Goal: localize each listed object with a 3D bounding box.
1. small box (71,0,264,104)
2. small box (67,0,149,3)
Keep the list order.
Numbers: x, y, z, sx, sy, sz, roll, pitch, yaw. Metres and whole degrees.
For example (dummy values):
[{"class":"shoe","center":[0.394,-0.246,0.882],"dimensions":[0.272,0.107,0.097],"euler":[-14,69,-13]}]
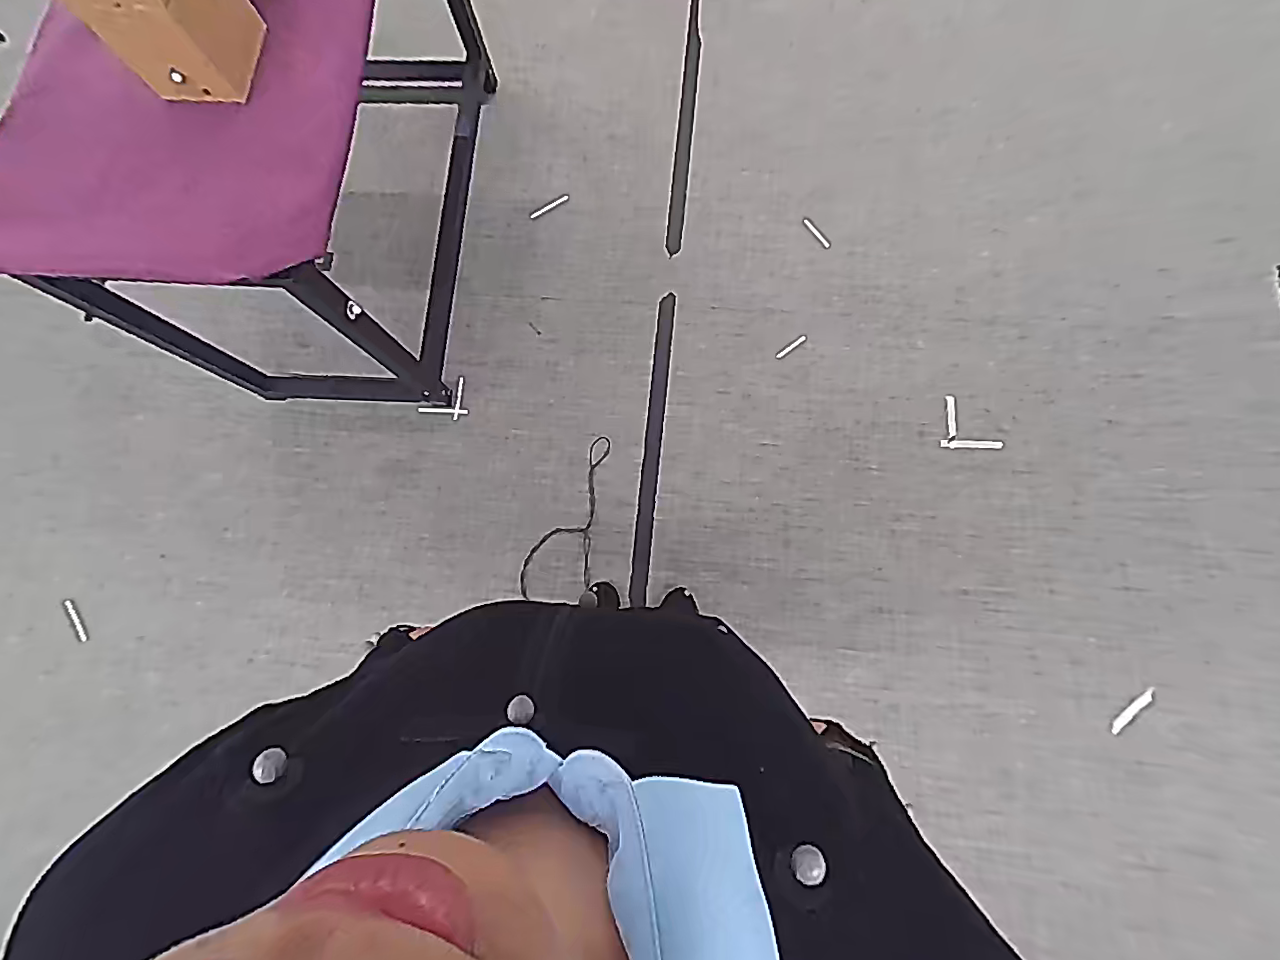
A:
[{"class":"small box","center":[-0.795,-0.797,0.932],"dimensions":[0.168,0.176,0.179],"euler":[5,79,4]},{"class":"small box","center":[-0.809,-0.830,0.771],"dimensions":[0.179,0.176,0.168],"euler":[3,78,4]}]
